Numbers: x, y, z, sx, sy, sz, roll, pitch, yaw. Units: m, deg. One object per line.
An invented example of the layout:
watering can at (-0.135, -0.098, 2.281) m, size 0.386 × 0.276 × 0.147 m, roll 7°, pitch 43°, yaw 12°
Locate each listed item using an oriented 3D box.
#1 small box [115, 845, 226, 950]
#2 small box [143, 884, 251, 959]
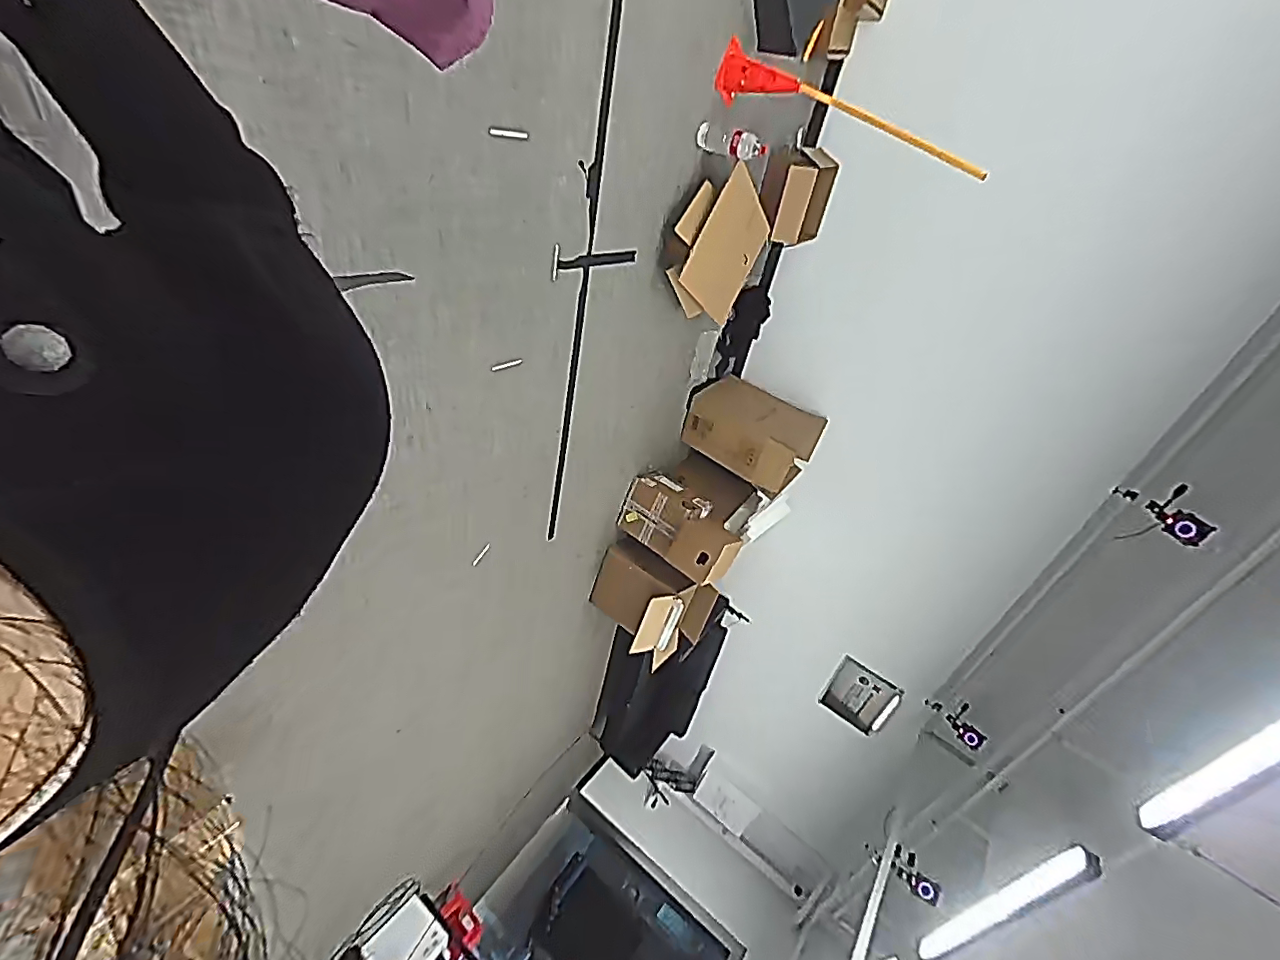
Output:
small box at (-1.364, 1.218, 1.575) m, size 0.179 × 0.176 × 0.168 m, roll -33°, pitch 144°, yaw -45°
small box at (-1.232, 1.285, 1.508) m, size 0.168 × 0.176 × 0.179 m, roll -33°, pitch 144°, yaw -46°
